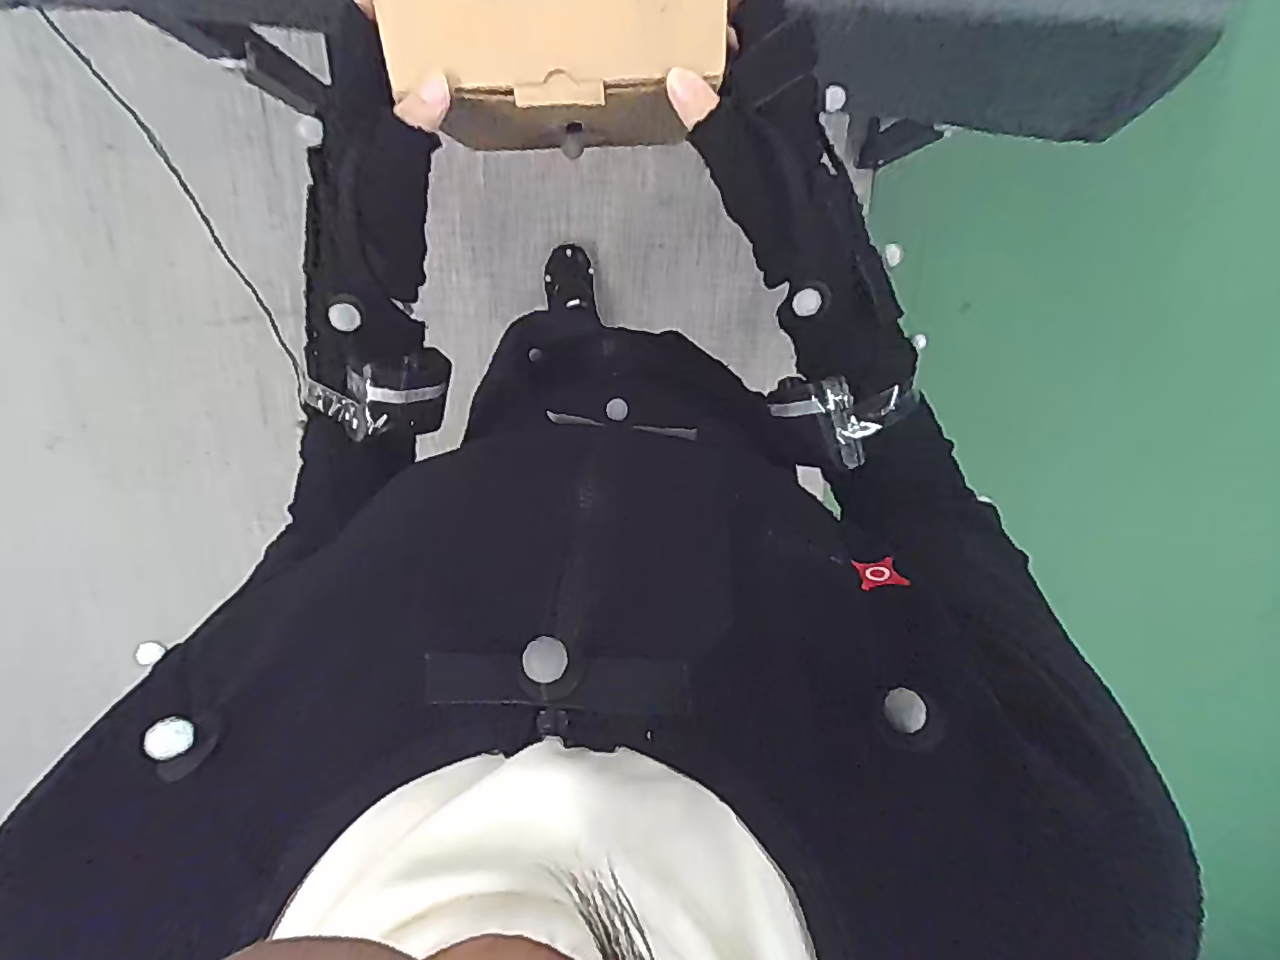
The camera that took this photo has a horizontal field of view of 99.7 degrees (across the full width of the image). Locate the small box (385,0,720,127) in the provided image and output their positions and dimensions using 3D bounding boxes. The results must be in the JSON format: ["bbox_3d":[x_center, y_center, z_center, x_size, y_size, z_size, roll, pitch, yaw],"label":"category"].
[{"bbox_3d":[-0.046,-0.316,0.311,0.168,0.176,0.179,-3,114,-1],"label":"small box"}]
